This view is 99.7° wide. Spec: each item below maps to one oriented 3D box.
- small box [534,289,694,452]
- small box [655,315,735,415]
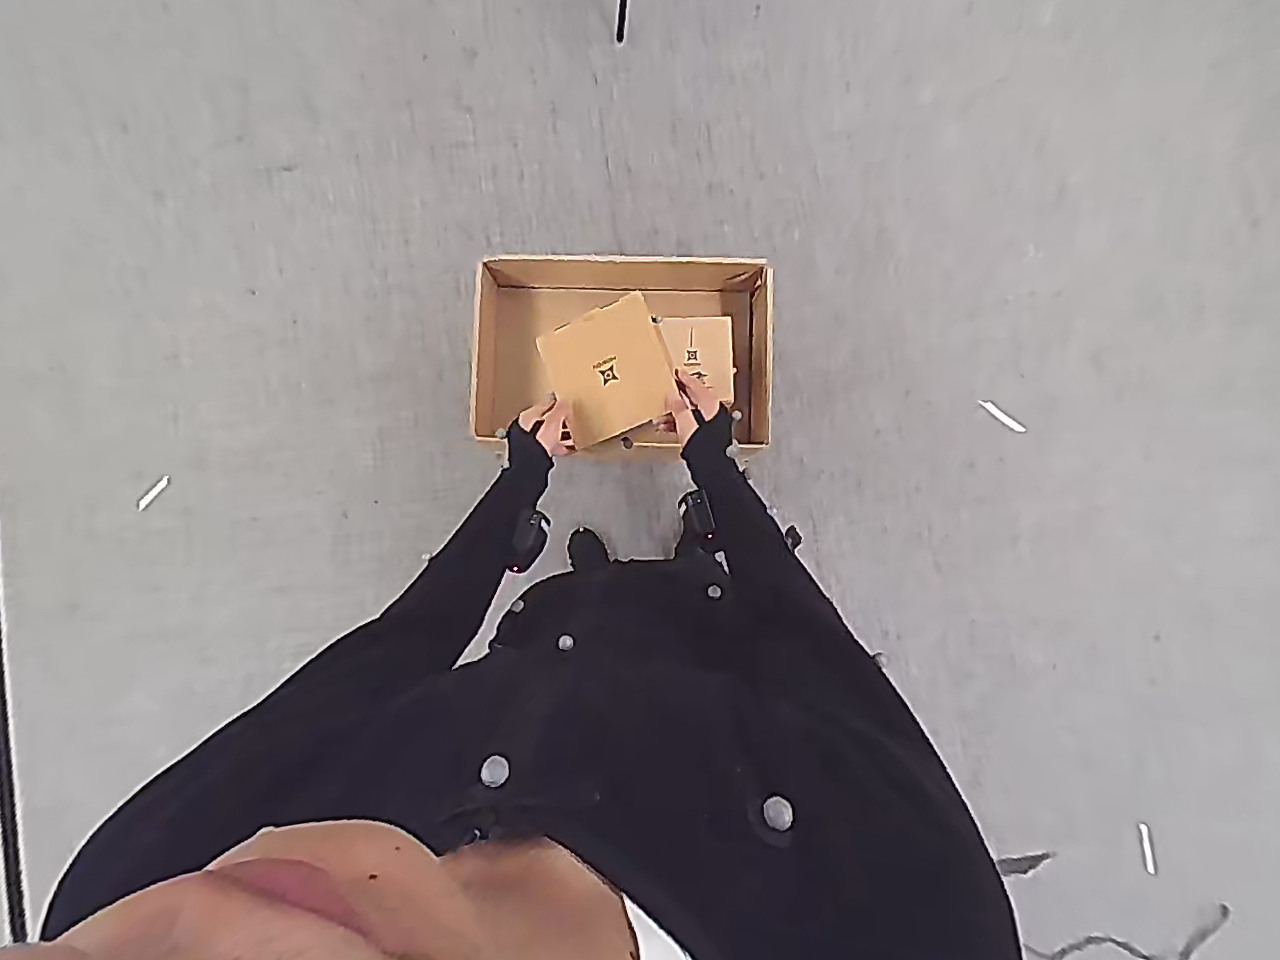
[{"bbox_3d":[-0.028,-0.150,0.810,0.168,0.176,0.179,-22,86,10],"label":"small box"},{"bbox_3d":[0.107,-0.234,1.145,0.168,0.176,0.179,-1,86,1],"label":"small box"}]
